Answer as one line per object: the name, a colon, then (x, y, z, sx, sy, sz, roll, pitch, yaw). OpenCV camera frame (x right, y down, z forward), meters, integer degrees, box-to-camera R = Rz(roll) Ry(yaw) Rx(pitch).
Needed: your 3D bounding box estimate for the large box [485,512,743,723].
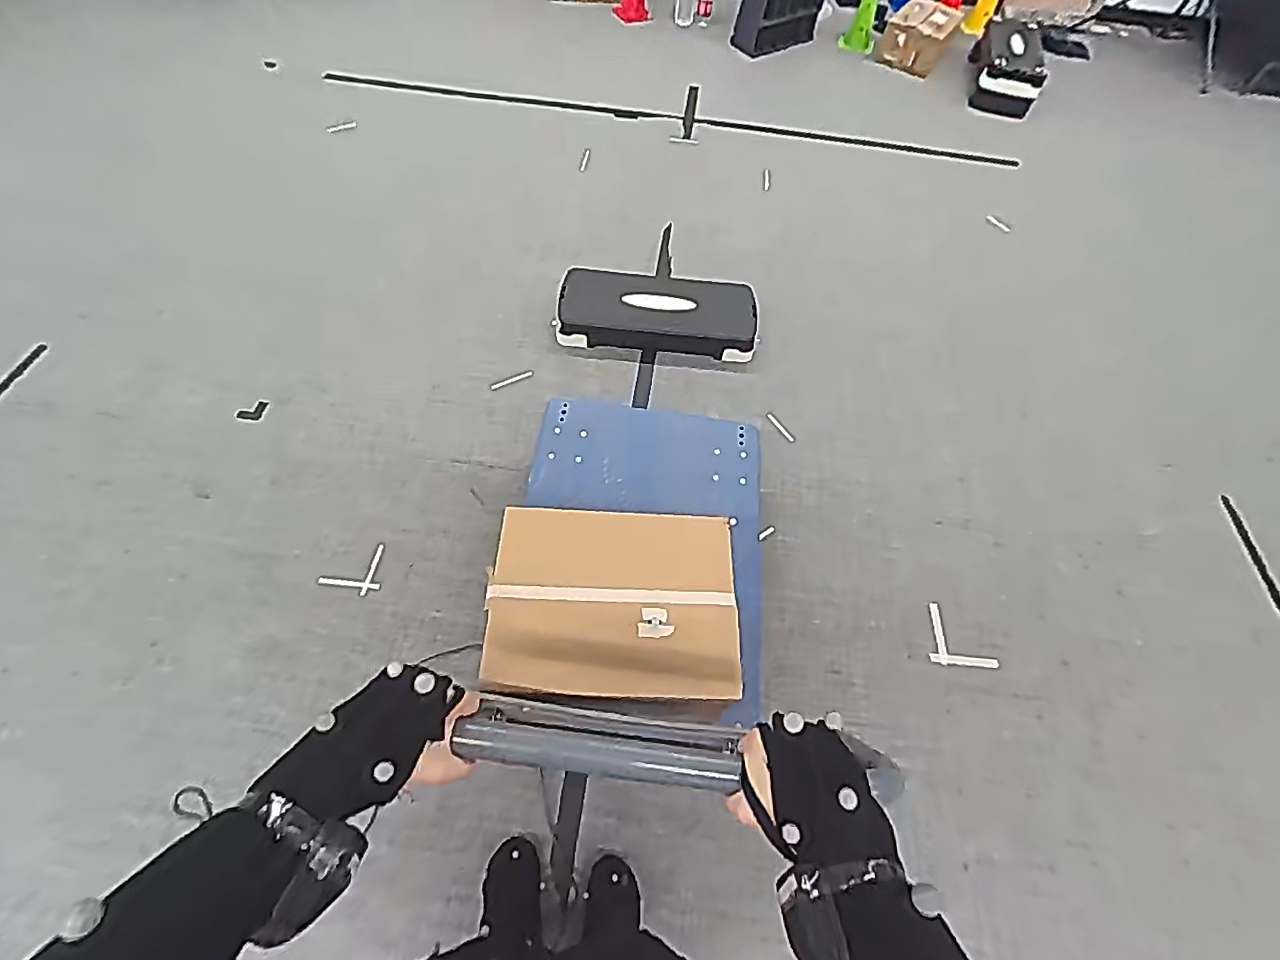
large box: (-0.052, 0.273, 1.024, 0.408, 0.320, 0.320, 3, 60, -4)
